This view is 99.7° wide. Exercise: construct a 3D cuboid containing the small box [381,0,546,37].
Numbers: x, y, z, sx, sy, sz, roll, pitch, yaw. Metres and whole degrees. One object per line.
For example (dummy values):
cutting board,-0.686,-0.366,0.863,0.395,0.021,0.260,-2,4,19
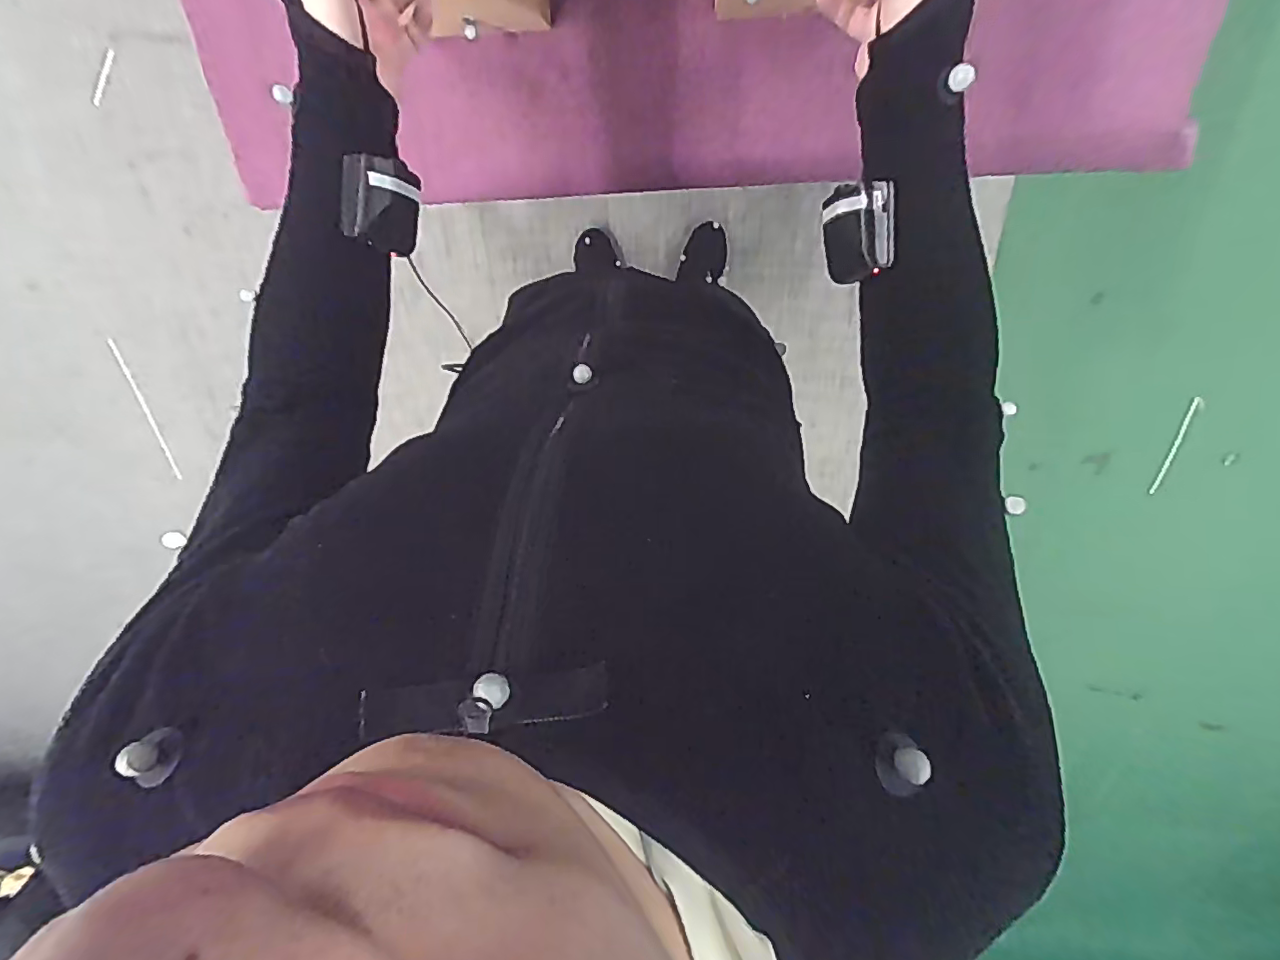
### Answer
small box,-0.195,-0.573,0.535,0.168,0.176,0.179,0,118,3
